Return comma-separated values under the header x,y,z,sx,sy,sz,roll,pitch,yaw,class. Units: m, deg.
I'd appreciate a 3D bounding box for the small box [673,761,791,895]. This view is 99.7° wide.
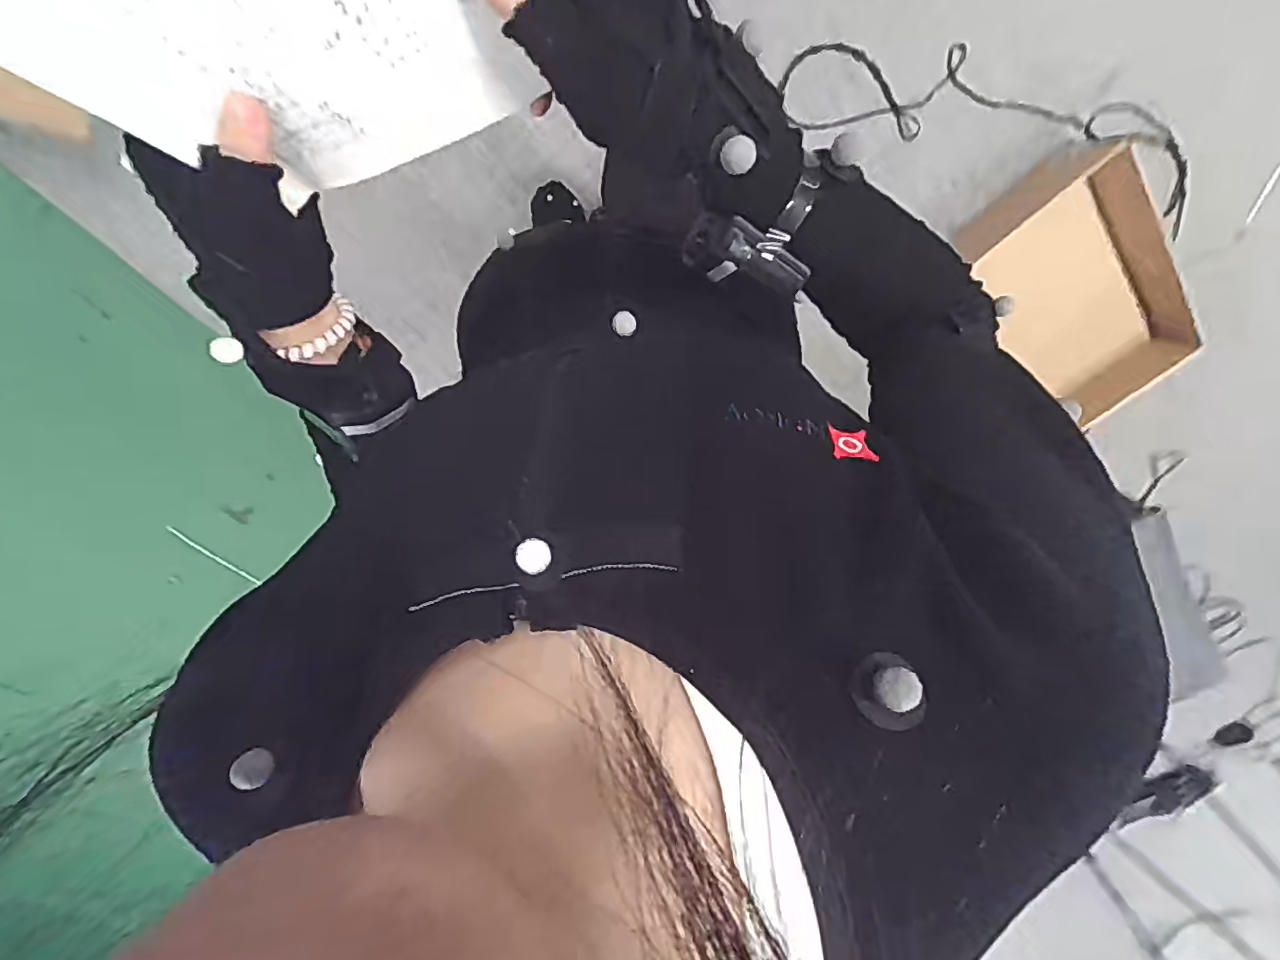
x,y,z,sx,sy,sz,roll,pitch,yaw,class
0.189,0.734,1.146,0.168,0.176,0.179,-34,118,14,small box
